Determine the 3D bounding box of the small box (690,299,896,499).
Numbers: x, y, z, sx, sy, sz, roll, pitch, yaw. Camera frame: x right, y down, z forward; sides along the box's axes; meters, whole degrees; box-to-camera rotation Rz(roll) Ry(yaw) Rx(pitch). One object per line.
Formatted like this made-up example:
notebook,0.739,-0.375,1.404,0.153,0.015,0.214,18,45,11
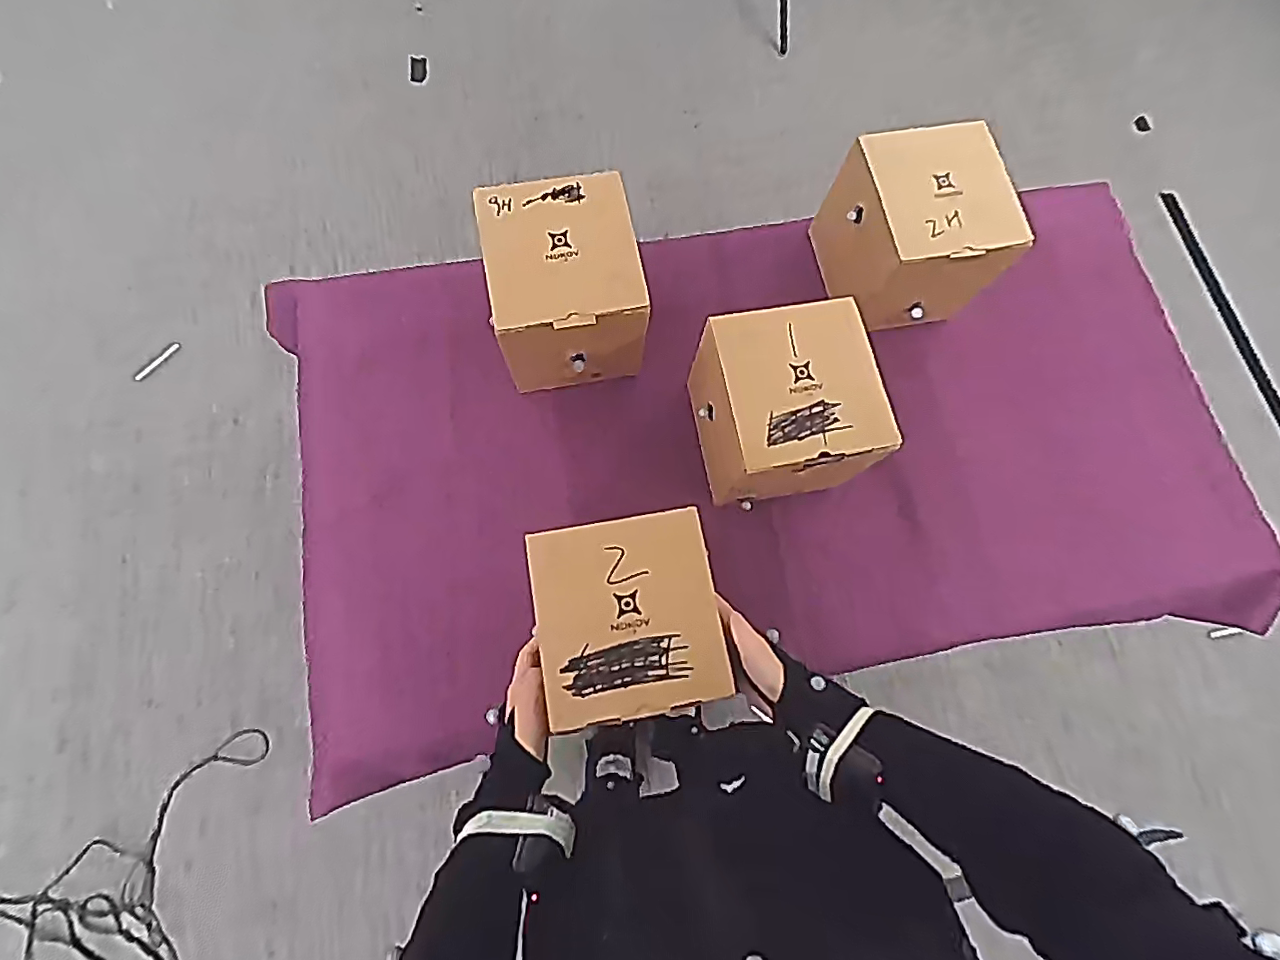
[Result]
small box,0.162,-0.081,0.636,0.168,0.176,0.179,-9,75,-6

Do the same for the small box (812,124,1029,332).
small box,0.345,-0.317,0.706,0.168,0.176,0.179,-10,77,-5

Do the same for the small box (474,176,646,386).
small box,-0.091,-0.227,0.659,0.168,0.176,0.179,-10,78,-6
